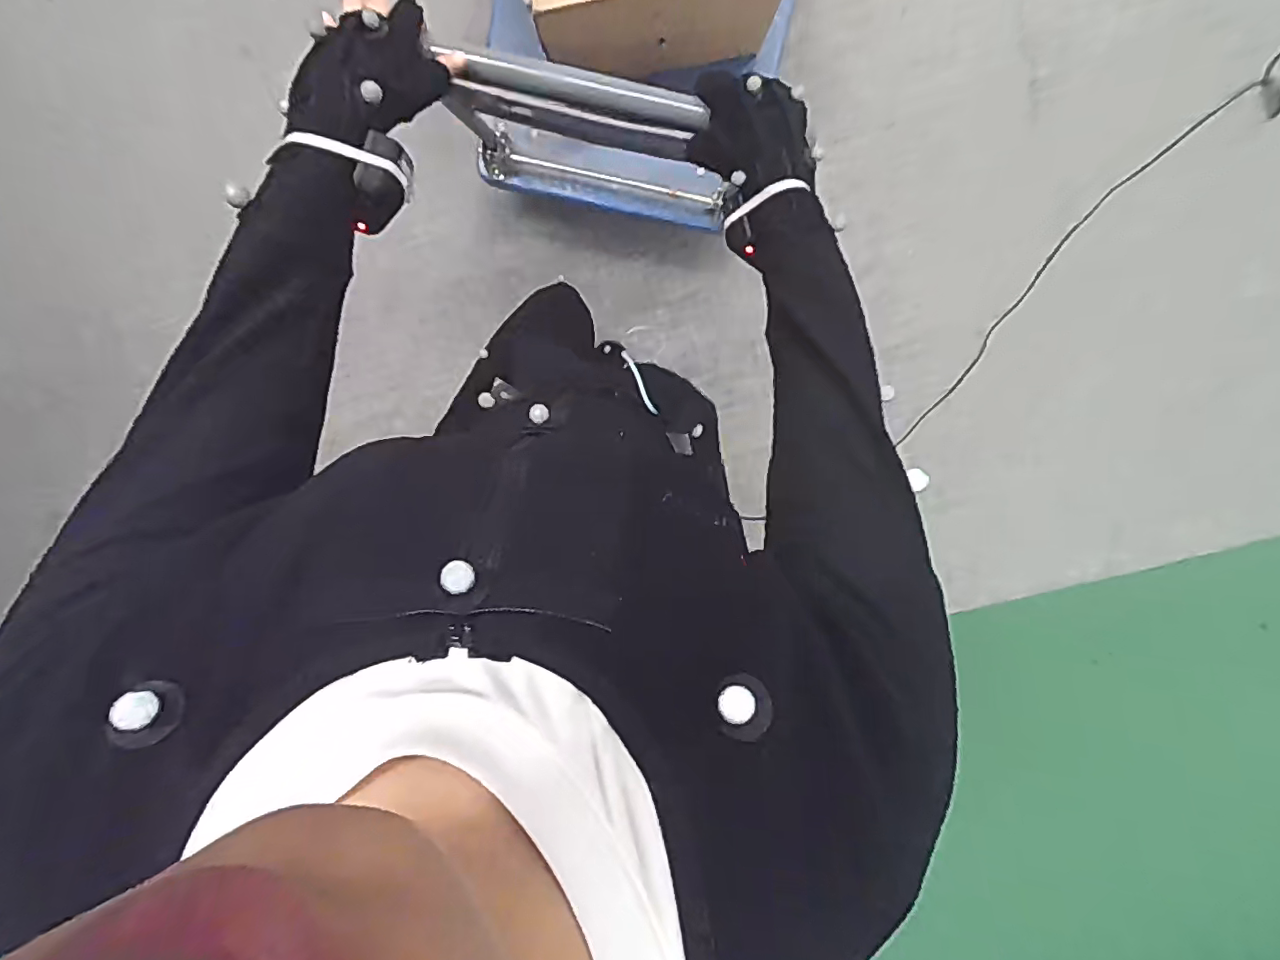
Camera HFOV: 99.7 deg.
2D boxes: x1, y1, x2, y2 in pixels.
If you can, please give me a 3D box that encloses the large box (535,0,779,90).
[{"bbox_3d":[0.016,-0.924,0.902,0.408,0.320,0.320,-10,106,5],"label":"large box"}]
